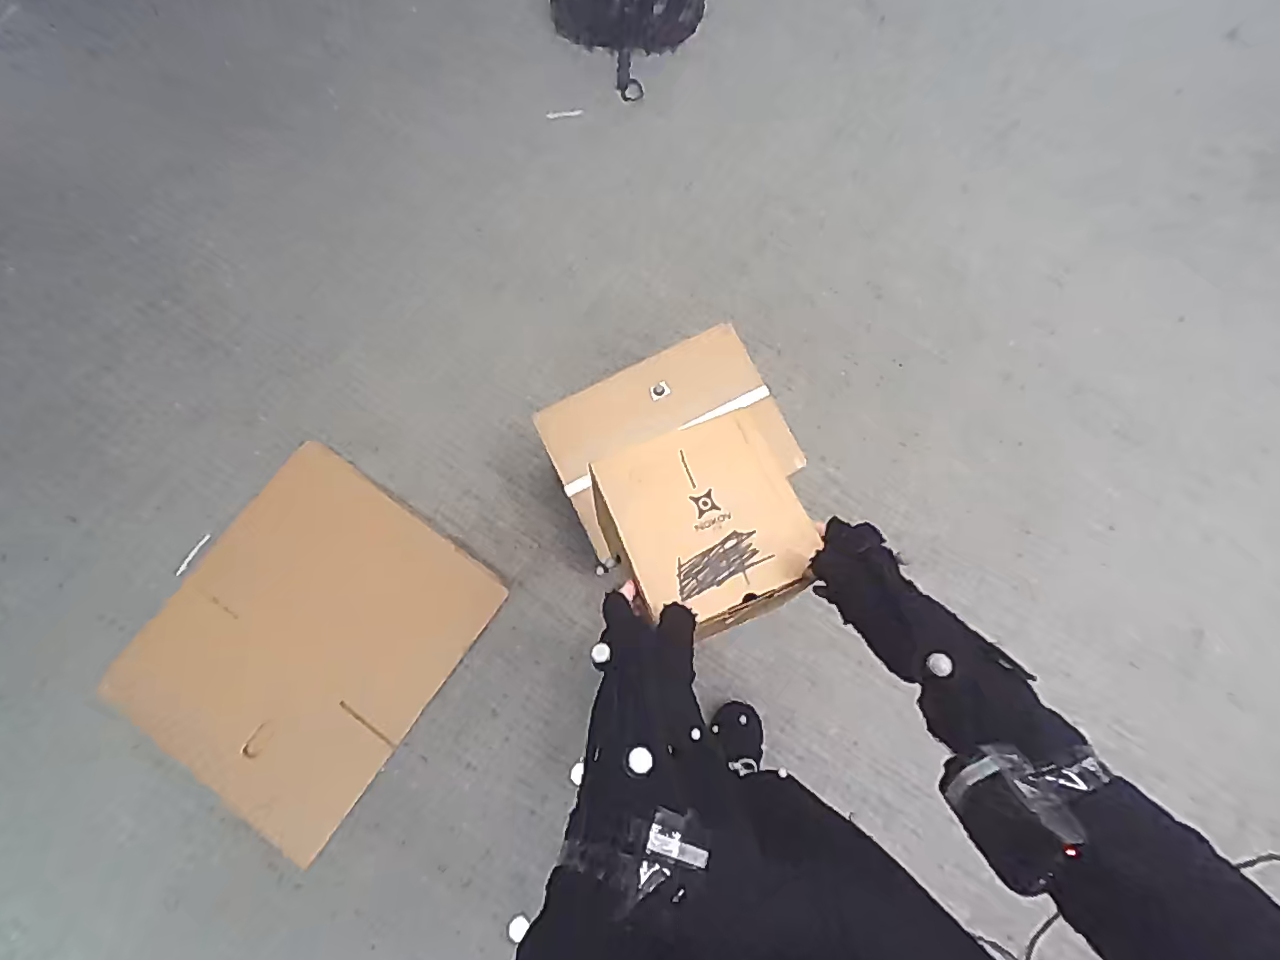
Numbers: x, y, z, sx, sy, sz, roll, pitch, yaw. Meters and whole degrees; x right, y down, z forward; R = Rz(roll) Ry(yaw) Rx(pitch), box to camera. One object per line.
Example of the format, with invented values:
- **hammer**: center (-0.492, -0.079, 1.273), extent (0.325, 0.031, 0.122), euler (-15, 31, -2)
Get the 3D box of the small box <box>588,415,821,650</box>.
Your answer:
- **small box**: center (0.057, 0.066, 0.569), extent (0.168, 0.176, 0.179), euler (-20, 66, -9)
